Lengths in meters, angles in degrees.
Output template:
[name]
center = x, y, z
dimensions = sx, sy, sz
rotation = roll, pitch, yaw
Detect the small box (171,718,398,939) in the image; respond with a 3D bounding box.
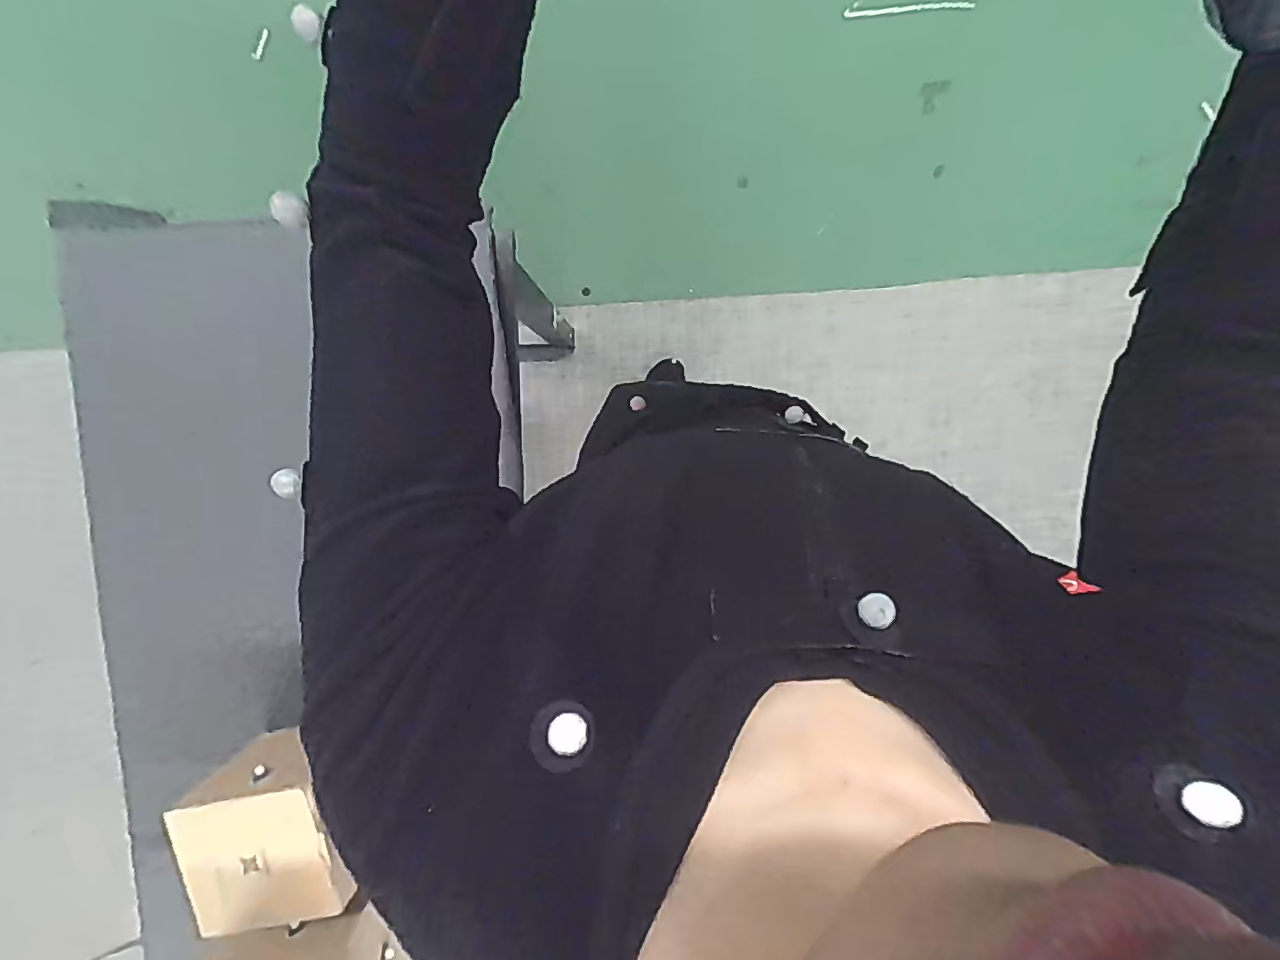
[small box]
center = -0.440, 0.438, 0.707
dimensions = 0.179, 0.176, 0.168
rotation = -11, 95, 2
